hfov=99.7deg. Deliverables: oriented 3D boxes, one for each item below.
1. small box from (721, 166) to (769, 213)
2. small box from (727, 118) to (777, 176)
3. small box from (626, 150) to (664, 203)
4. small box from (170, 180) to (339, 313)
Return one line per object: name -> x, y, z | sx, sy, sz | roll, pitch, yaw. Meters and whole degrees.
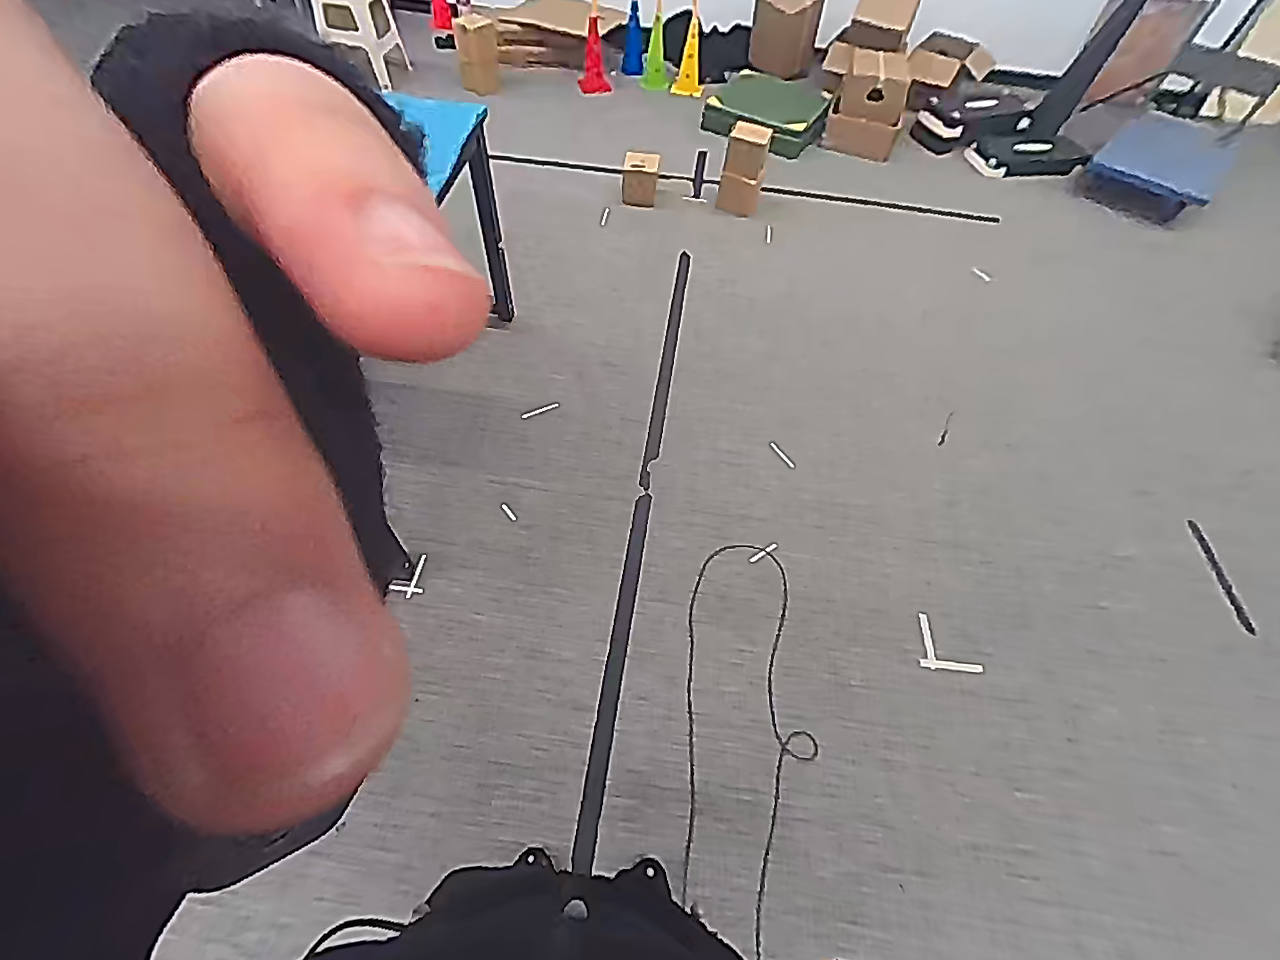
small box -> 0.516, -1.460, 2.684 | 0.179, 0.176, 0.168 | 22, 57, 9
small box -> 0.527, -1.575, 2.563 | 0.179, 0.176, 0.168 | 20, 58, 9
small box -> 0.024, -1.500, 2.676 | 0.168, 0.176, 0.179 | 7, 55, 1
small box -> -0.726, -0.445, 1.042 | 0.179, 0.176, 0.168 | 7, 57, -1
